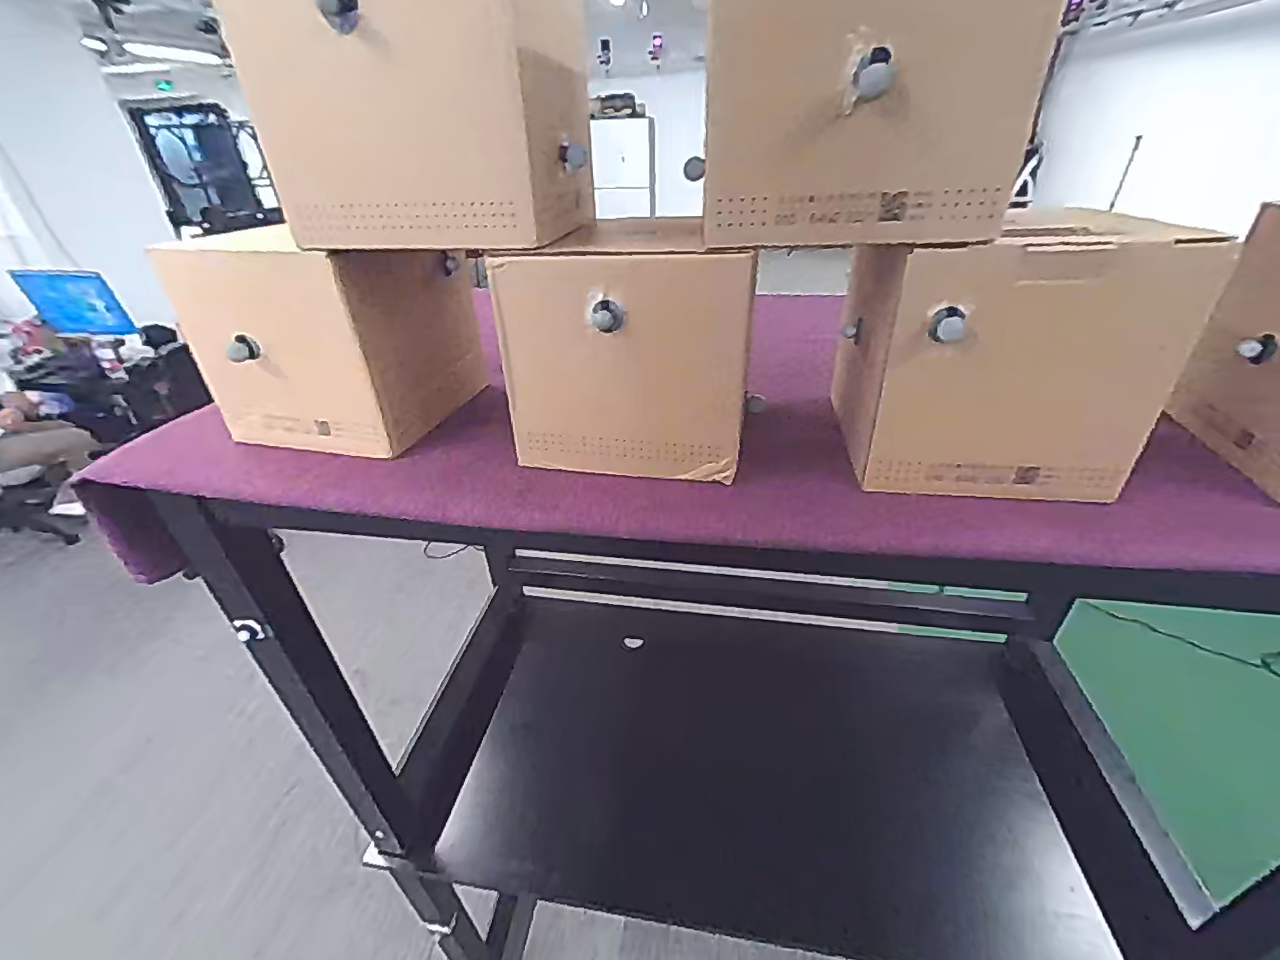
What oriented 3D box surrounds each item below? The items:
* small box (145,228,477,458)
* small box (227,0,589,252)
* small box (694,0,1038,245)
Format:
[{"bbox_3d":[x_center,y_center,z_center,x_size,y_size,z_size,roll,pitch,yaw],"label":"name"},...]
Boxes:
[{"bbox_3d":[-0.270,-0.133,0.496,0.168,0.176,0.179,5,32,13],"label":"small box"},{"bbox_3d":[-0.143,-0.261,0.382,0.179,0.176,0.168,3,32,8],"label":"small box"},{"bbox_3d":[0.120,-0.248,0.339,0.168,0.176,0.179,1,32,8],"label":"small box"}]
